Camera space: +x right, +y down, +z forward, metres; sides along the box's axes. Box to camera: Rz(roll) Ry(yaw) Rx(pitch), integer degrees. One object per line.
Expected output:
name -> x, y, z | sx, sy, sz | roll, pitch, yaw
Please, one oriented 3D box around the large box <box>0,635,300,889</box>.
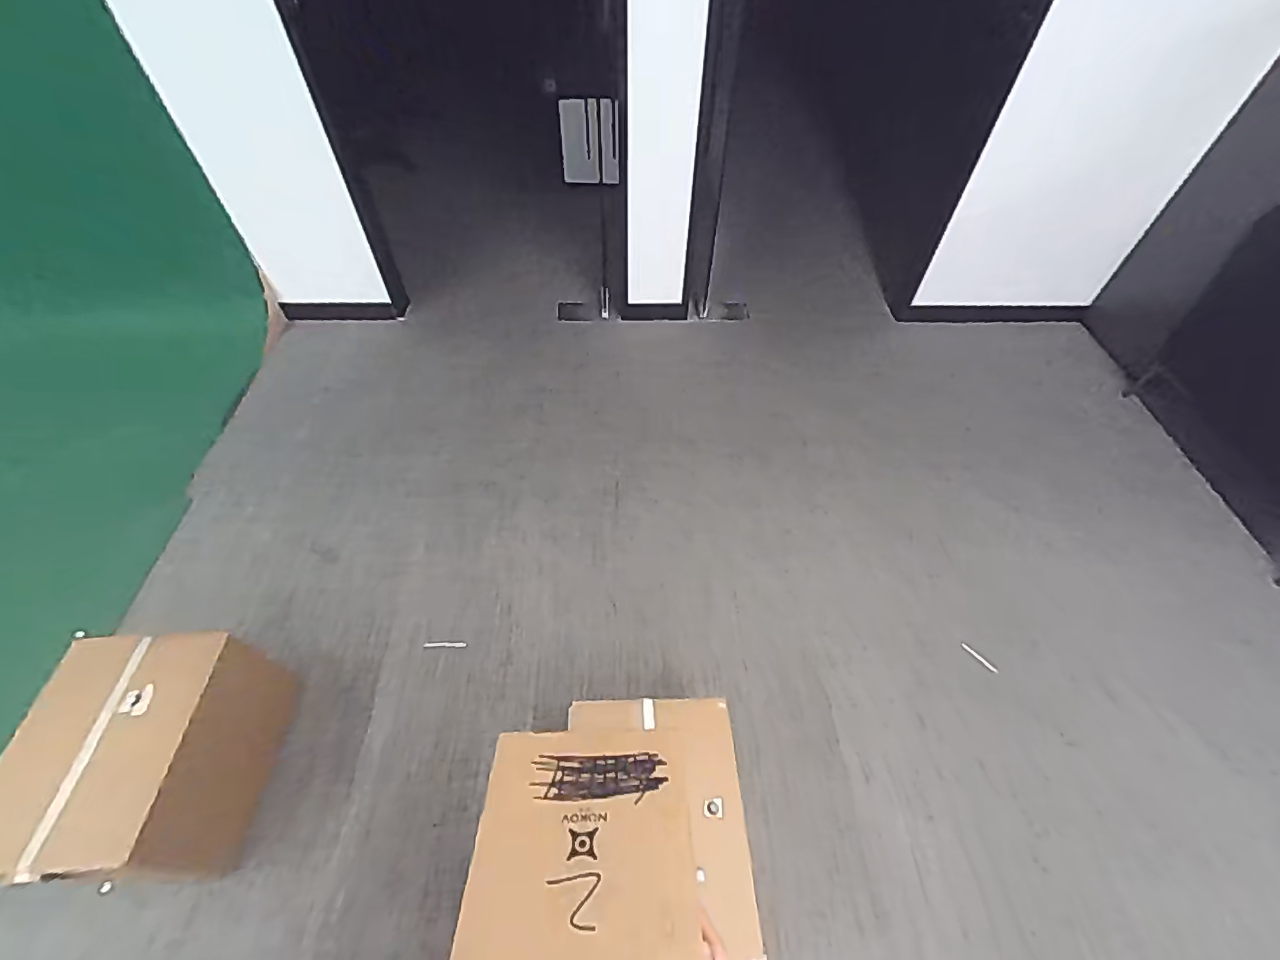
large box -> -0.991, 0.580, 1.117 | 0.320, 0.320, 0.408 | -2, 51, -2
